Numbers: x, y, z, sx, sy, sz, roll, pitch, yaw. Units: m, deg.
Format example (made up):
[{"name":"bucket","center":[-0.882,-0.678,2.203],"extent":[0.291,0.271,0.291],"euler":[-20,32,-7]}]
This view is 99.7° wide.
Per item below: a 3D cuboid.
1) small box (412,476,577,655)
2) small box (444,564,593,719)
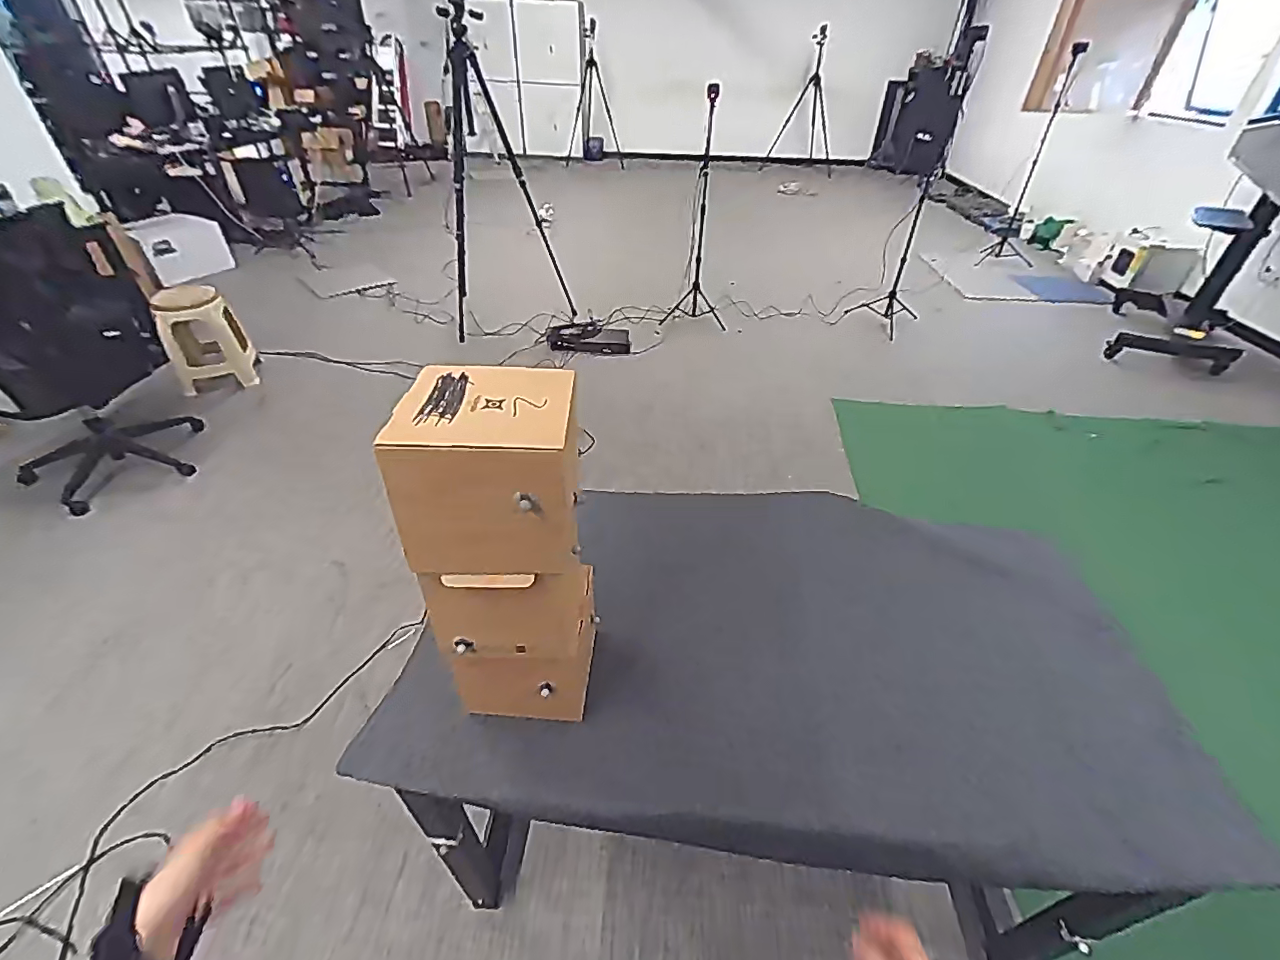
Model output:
[{"name":"small box","center":[-0.174,0.112,0.712],"extent":[0.168,0.176,0.179],"euler":[1,37,-2]},{"name":"small box","center":[-0.167,0.240,0.815],"extent":[0.179,0.176,0.168],"euler":[2,37,2]}]
